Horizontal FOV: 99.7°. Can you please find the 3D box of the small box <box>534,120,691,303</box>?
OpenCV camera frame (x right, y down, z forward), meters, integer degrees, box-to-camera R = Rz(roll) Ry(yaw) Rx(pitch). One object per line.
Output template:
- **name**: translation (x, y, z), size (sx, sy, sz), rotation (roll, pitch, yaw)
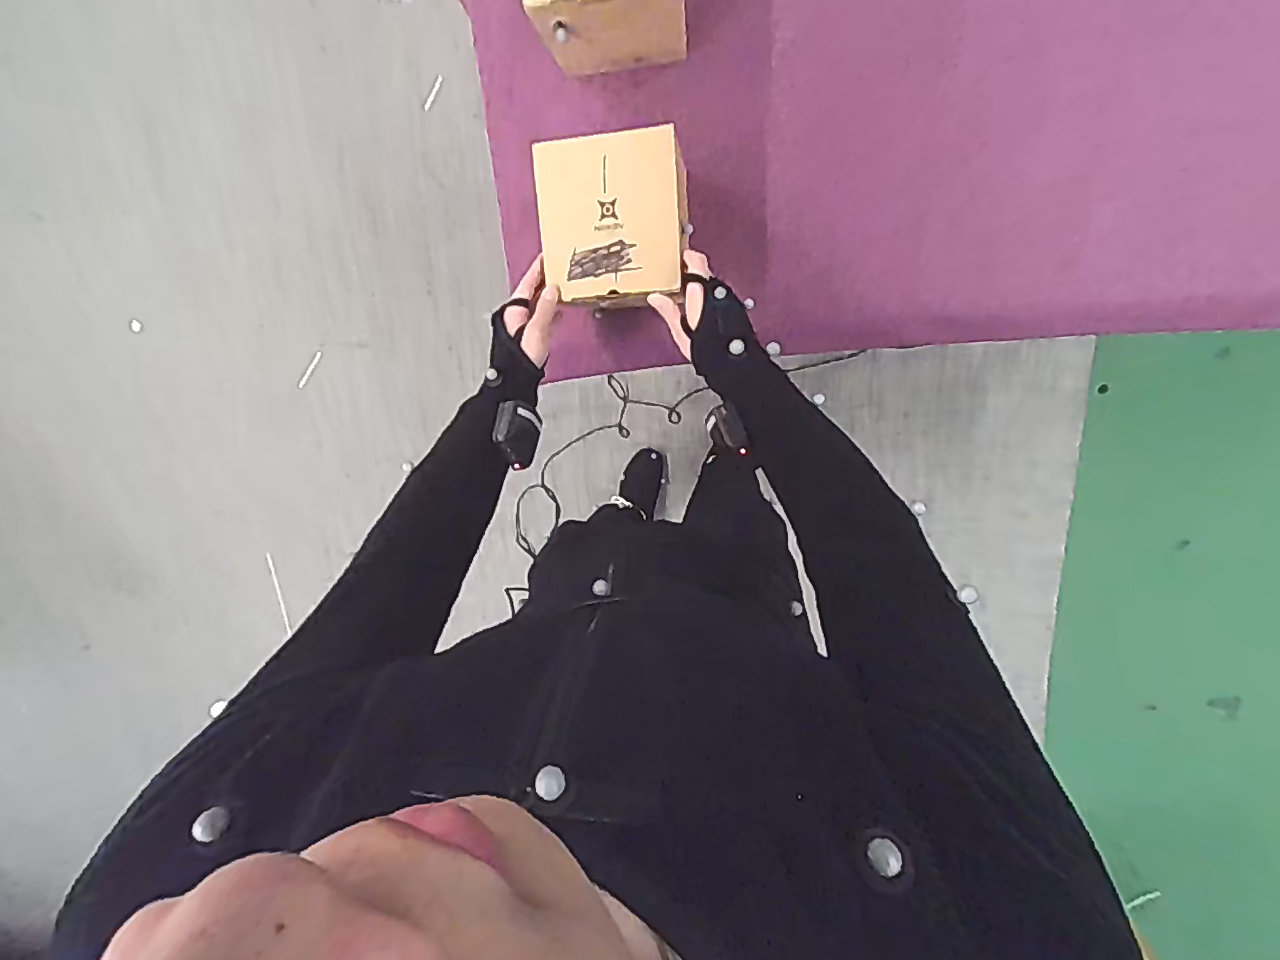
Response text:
- **small box**: translation (-0.023, -0.324, 0.694), size (0.168, 0.176, 0.179), rotation (-2, 103, 9)
